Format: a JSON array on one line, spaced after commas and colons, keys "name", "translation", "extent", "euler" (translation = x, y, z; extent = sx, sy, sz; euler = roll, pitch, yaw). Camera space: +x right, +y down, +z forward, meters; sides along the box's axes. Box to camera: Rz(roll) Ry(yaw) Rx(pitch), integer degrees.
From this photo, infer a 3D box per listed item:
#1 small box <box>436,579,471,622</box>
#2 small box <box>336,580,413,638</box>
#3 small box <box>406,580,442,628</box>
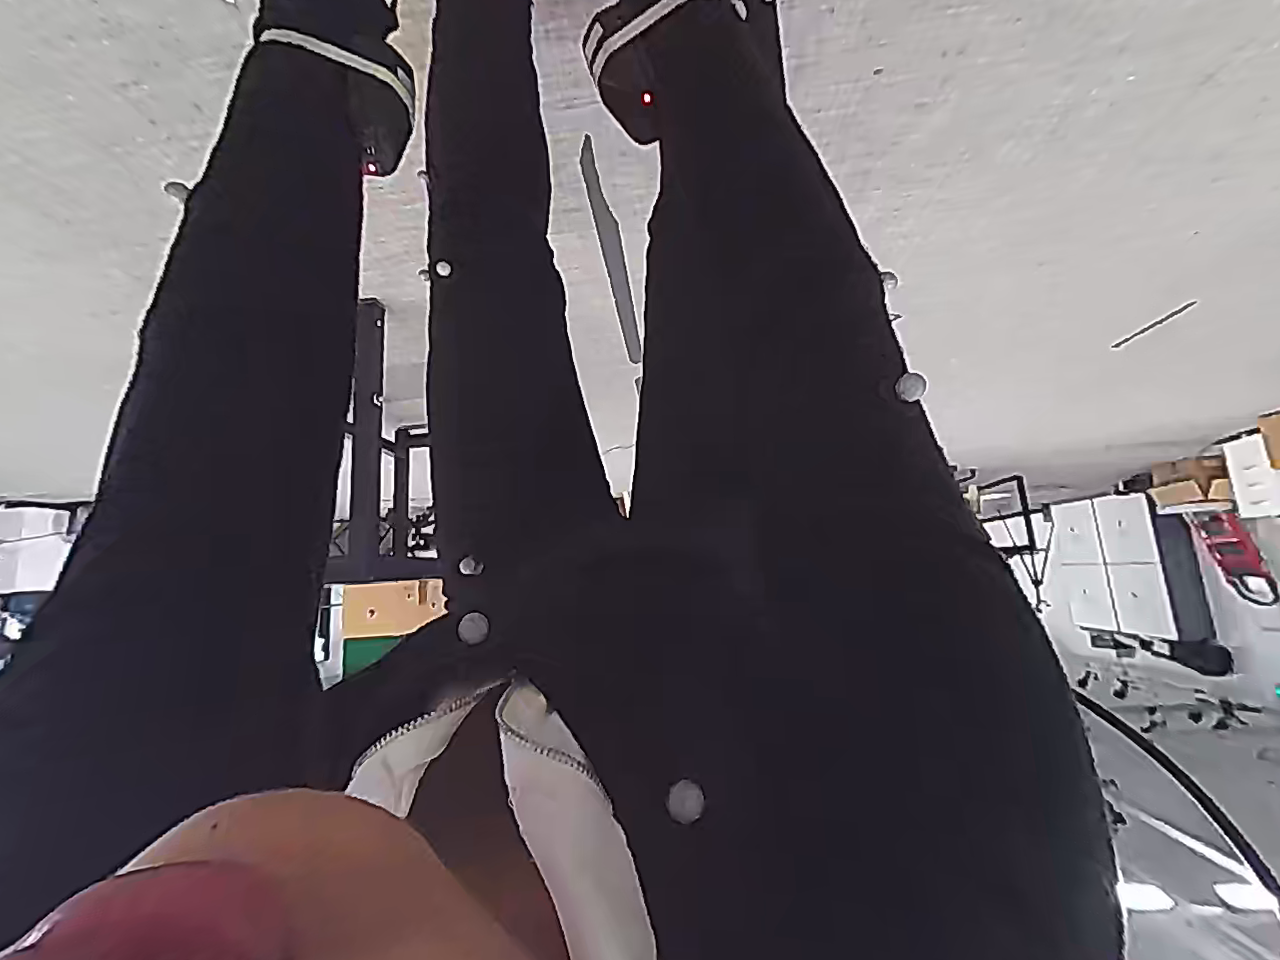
[{"name": "small box", "translation": [-0.824, 0.506, 2.269], "extent": [0.168, 0.176, 0.179], "euler": [-4, 169, 6]}, {"name": "small box", "translation": [-0.860, 0.418, 1.766], "extent": [0.179, 0.176, 0.168], "euler": [-4, 170, 0]}, {"name": "small box", "translation": [-0.854, 0.460, 2.012], "extent": [0.179, 0.176, 0.168], "euler": [-3, 169, 5]}]
